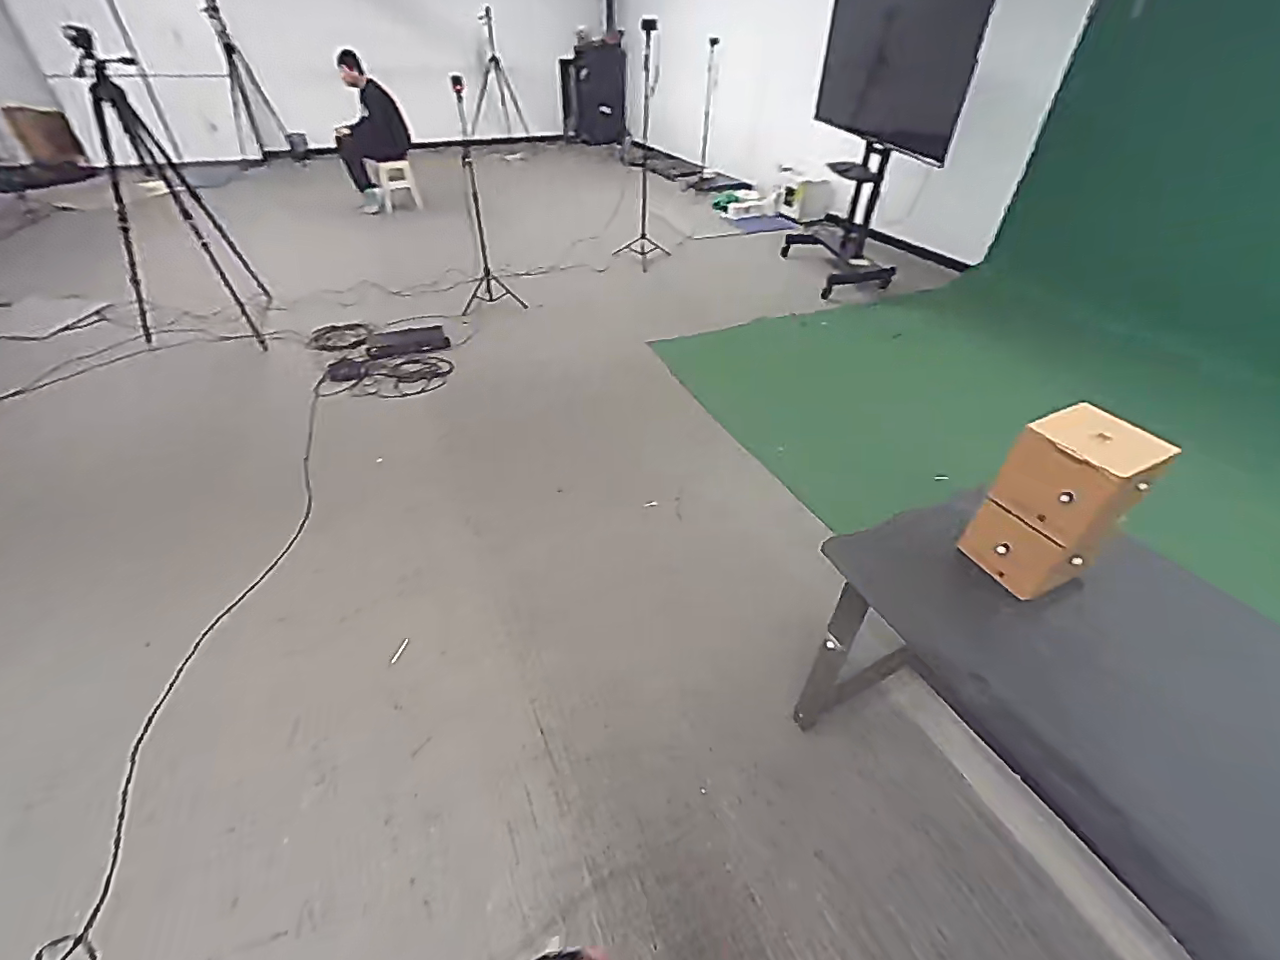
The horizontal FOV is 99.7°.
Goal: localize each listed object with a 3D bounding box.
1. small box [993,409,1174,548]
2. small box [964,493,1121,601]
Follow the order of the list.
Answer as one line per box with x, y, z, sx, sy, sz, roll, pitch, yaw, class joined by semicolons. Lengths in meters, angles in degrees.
0.791;-0.002;0.988;0.179;0.176;0.168;-17;45;-22;small box
0.799;0.118;1.099;0.179;0.176;0.168;-16;44;-19;small box
